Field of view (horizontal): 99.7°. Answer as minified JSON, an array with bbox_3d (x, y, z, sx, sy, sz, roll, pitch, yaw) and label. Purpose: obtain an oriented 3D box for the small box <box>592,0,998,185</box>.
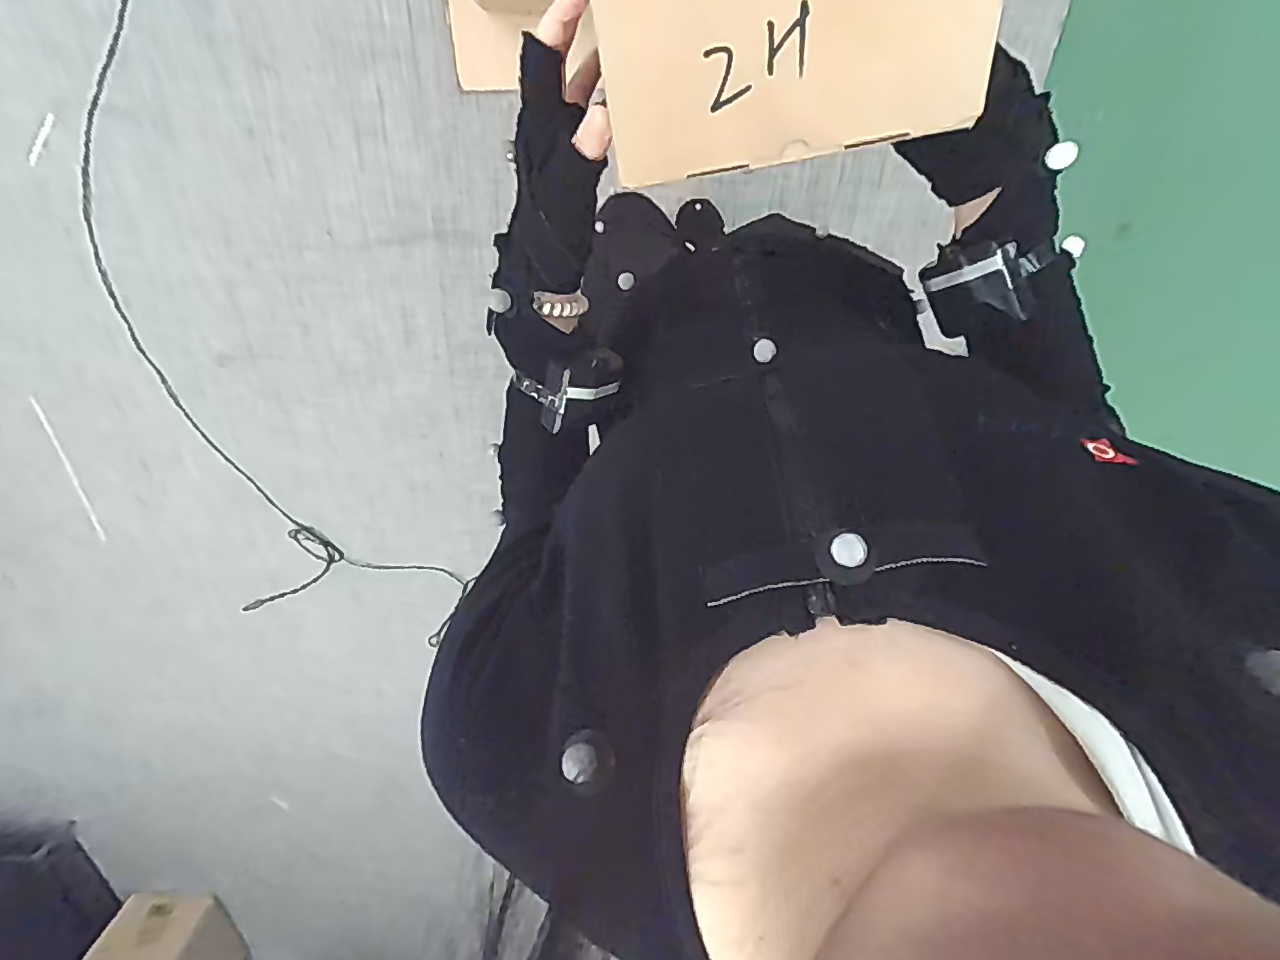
[{"bbox_3d":[0.056,-0.266,0.267,0.168,0.176,0.179,-9,126,4],"label":"small box"}]
